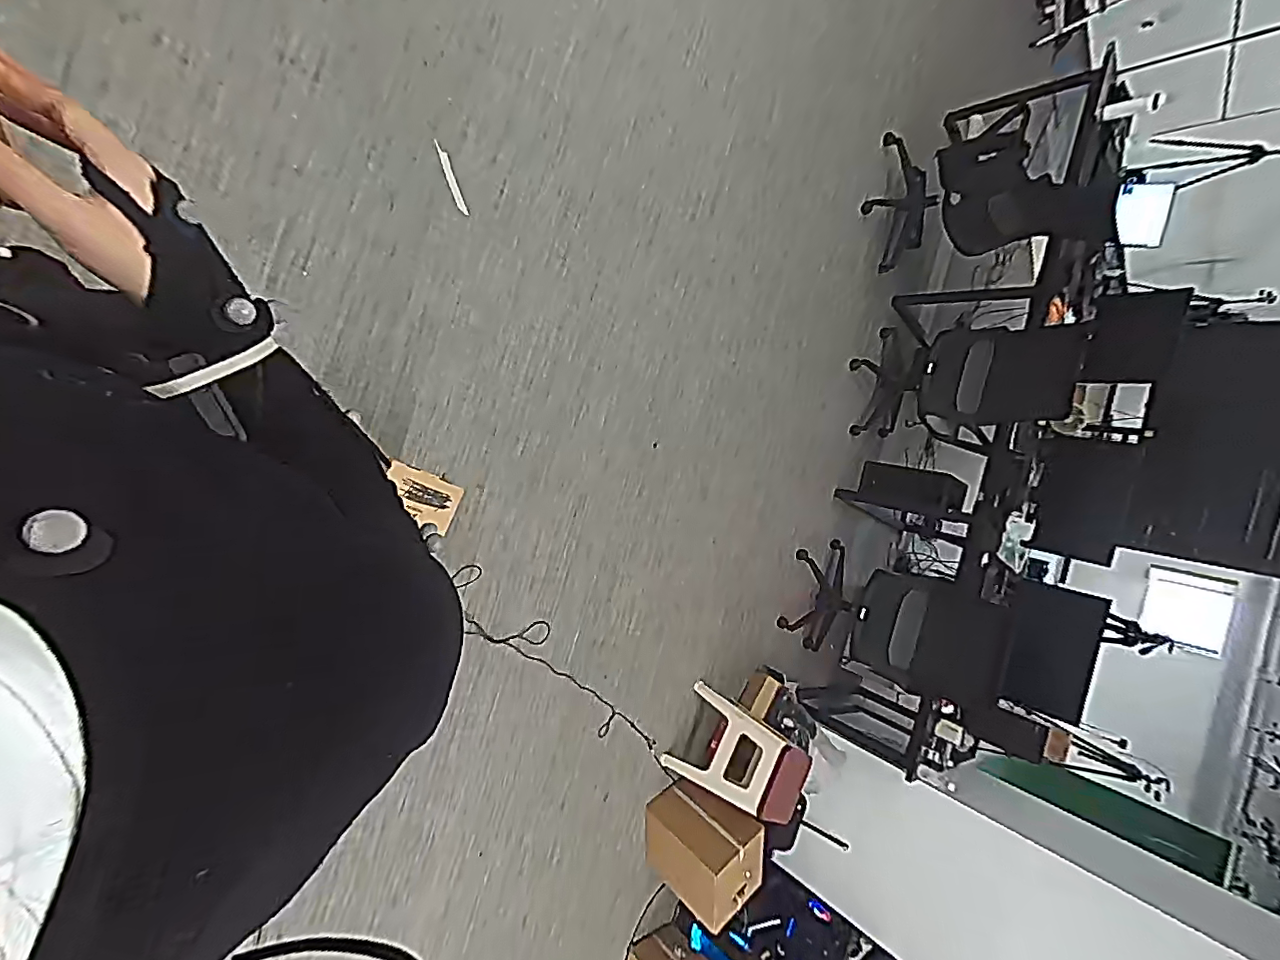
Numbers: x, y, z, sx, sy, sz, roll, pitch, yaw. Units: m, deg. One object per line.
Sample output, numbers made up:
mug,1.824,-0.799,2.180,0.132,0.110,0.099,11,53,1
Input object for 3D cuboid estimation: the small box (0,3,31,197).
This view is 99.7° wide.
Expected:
small box,-0.403,-0.239,0.231,0.168,0.176,0.179,-11,120,-42
